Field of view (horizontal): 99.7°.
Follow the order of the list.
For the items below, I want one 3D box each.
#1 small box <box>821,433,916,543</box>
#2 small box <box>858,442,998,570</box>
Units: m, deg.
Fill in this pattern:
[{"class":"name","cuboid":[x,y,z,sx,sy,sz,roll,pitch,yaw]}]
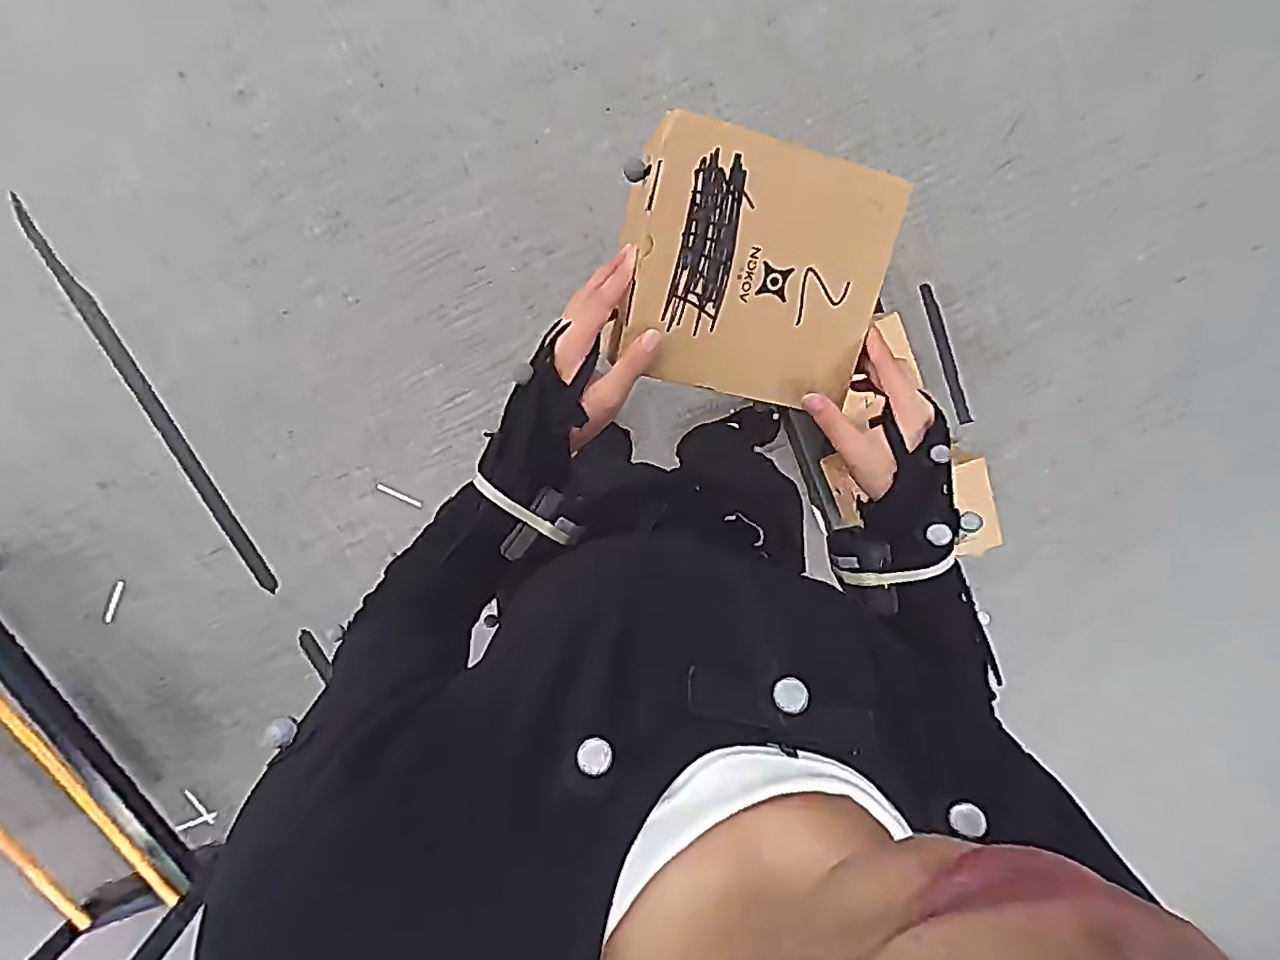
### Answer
[{"class":"small box","cuboid":[0.535,0.010,1.207,0.179,0.176,0.168,-25,104,7]},{"class":"small box","cuboid":[0.548,0.044,1.046,0.168,0.176,0.179,-19,104,5]}]
